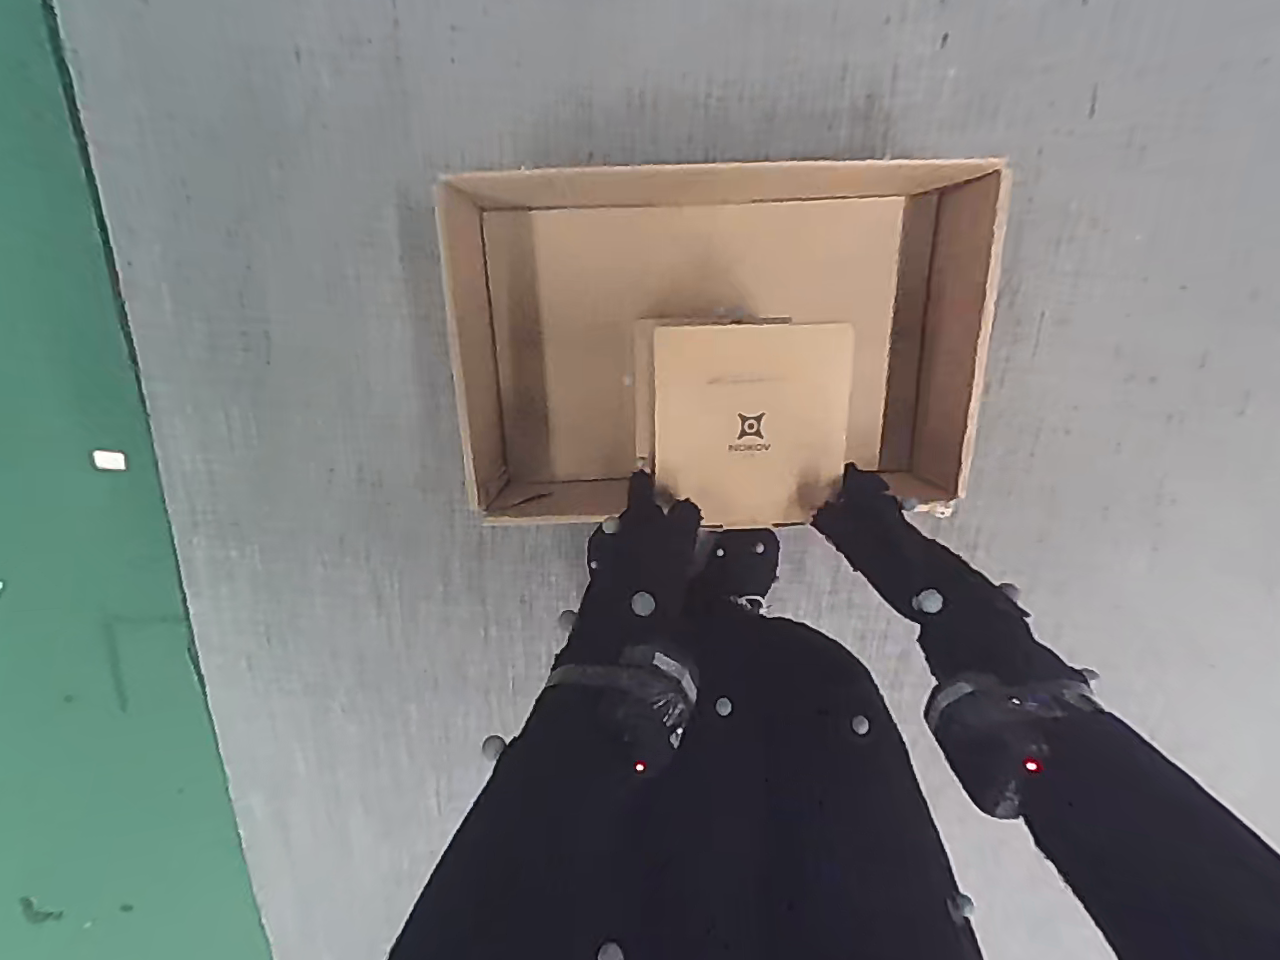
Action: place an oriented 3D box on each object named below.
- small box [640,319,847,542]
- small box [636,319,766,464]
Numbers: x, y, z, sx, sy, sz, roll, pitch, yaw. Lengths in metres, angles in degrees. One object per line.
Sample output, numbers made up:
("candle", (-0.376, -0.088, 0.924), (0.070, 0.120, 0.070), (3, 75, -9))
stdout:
("small box", (0.090, -0.058, 0.528), (0.168, 0.176, 0.179), (-6, 108, 2))
("small box", (0.084, -0.120, 0.694), (0.179, 0.176, 0.168), (0, 106, 2))
